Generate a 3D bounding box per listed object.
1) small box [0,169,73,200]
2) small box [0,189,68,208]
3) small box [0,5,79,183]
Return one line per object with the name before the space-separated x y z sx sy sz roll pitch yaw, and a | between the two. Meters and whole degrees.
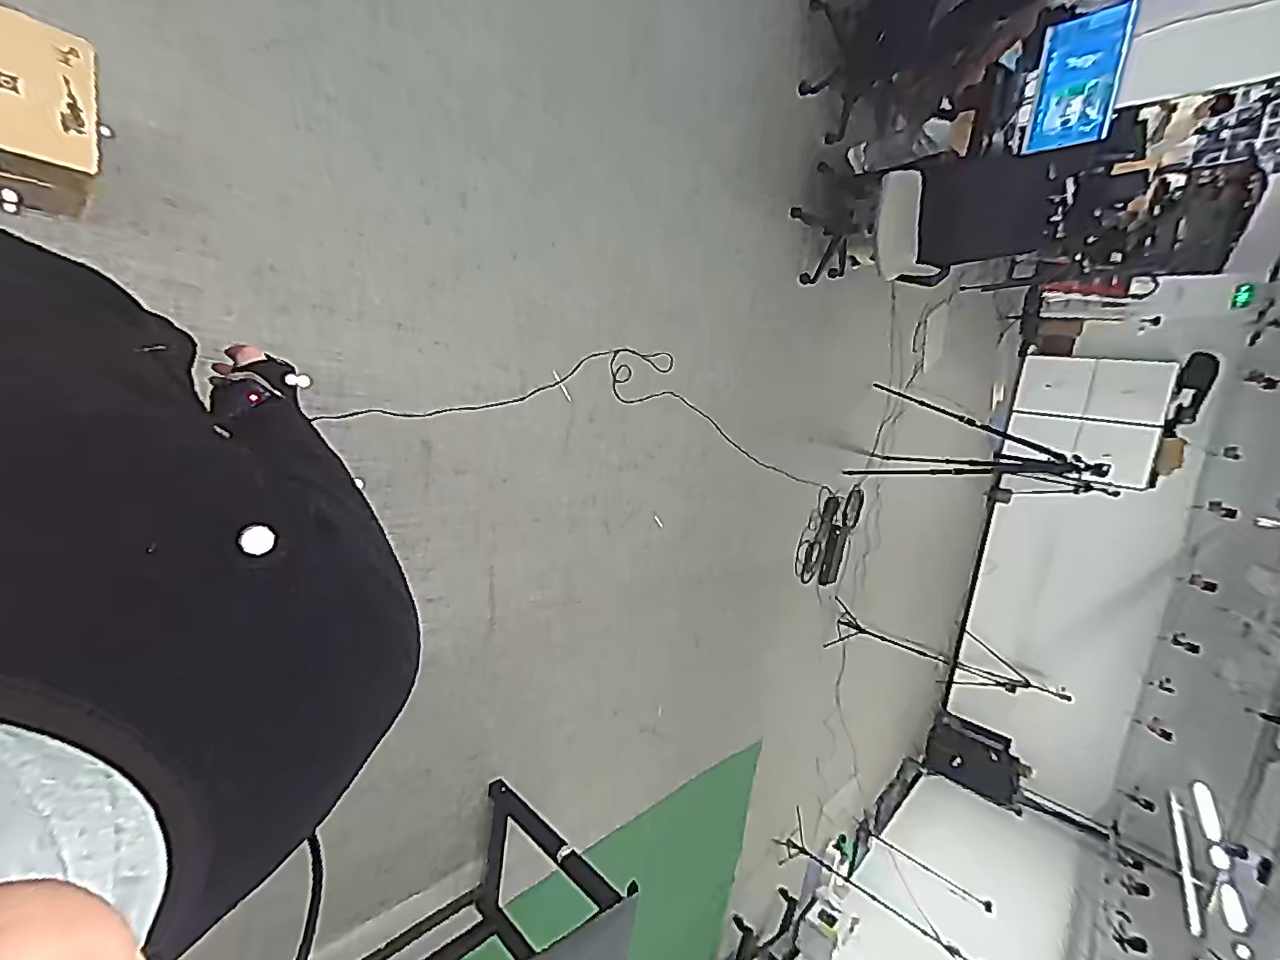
small box | -0.974 -0.542 0.805 0.168 0.176 0.179 -5 106 -47
small box | -1.093 -0.582 0.912 0.168 0.176 0.179 -5 107 -47
small box | -0.855 -0.508 0.699 0.179 0.176 0.168 -2 103 -47
